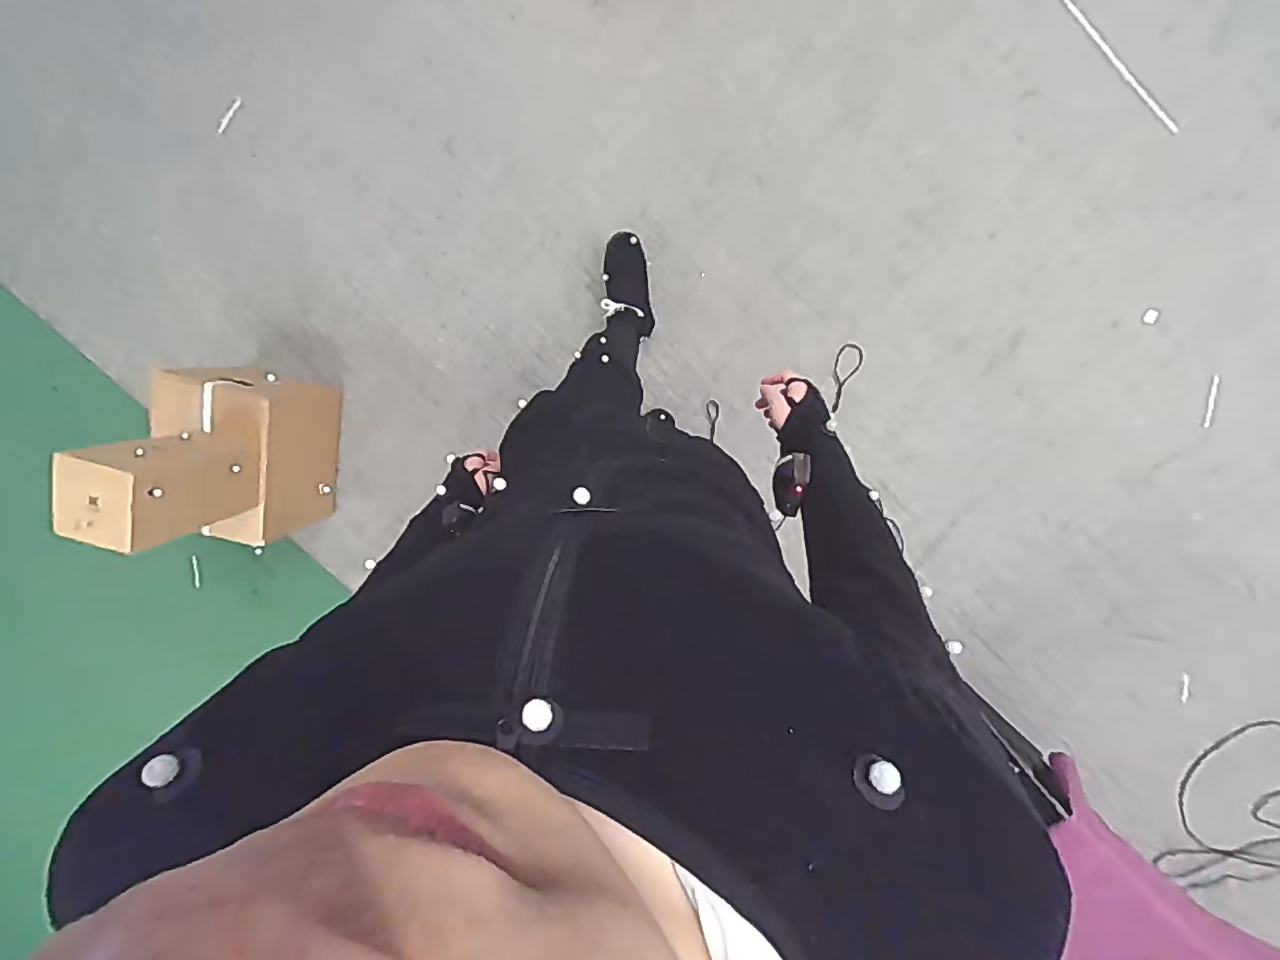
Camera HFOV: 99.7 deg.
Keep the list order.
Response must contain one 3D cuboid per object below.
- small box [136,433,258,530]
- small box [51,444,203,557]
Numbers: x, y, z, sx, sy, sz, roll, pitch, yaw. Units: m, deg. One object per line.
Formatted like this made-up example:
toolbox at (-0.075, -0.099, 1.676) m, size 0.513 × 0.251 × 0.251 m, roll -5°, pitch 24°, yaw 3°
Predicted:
small box at (-1.057, -0.004, 1.297) m, size 0.168 × 0.176 × 0.179 m, roll 13°, pitch 105°, yaw 1°
small box at (-1.067, 0.034, 1.137) m, size 0.168 × 0.176 × 0.179 m, roll 15°, pitch 104°, yaw 1°
